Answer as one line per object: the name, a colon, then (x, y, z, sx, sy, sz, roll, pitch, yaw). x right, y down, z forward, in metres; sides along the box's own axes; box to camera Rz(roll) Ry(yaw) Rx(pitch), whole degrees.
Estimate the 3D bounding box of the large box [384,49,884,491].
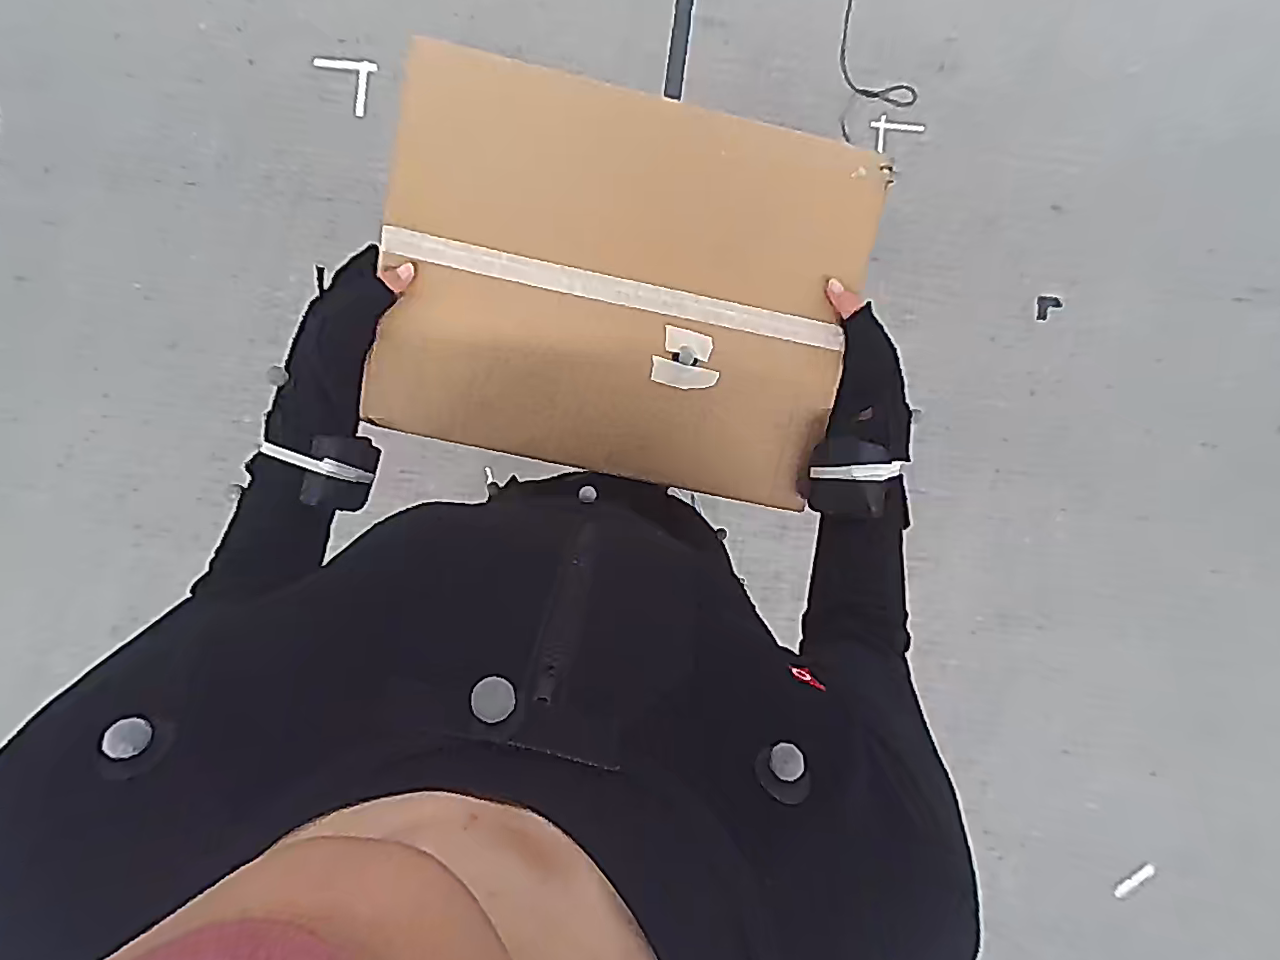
large box: (-0.018, -0.195, 0.623, 0.408, 0.320, 0.320, 11, 100, -5)
